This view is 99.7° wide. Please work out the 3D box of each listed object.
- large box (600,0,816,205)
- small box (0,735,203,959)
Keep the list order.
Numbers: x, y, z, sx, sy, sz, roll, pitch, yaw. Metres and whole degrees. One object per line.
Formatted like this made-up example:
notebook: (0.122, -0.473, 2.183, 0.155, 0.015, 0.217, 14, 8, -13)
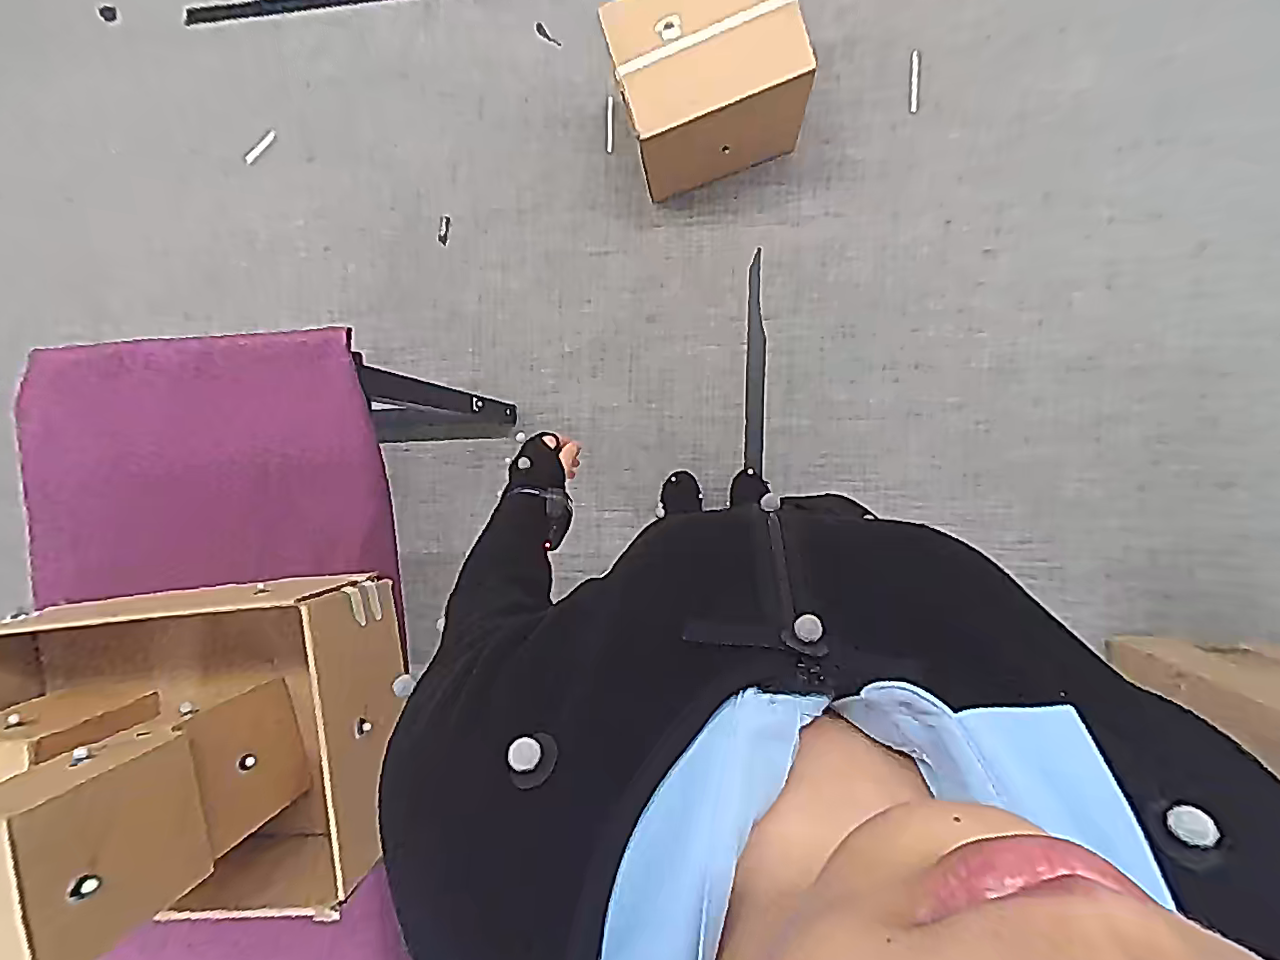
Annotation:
large box: (0.163, -0.953, 1.318, 0.408, 0.320, 0.320, -18, 89, 9)
small box: (-0.620, 0.406, 0.581, 0.168, 0.176, 0.179, -12, 89, 10)
